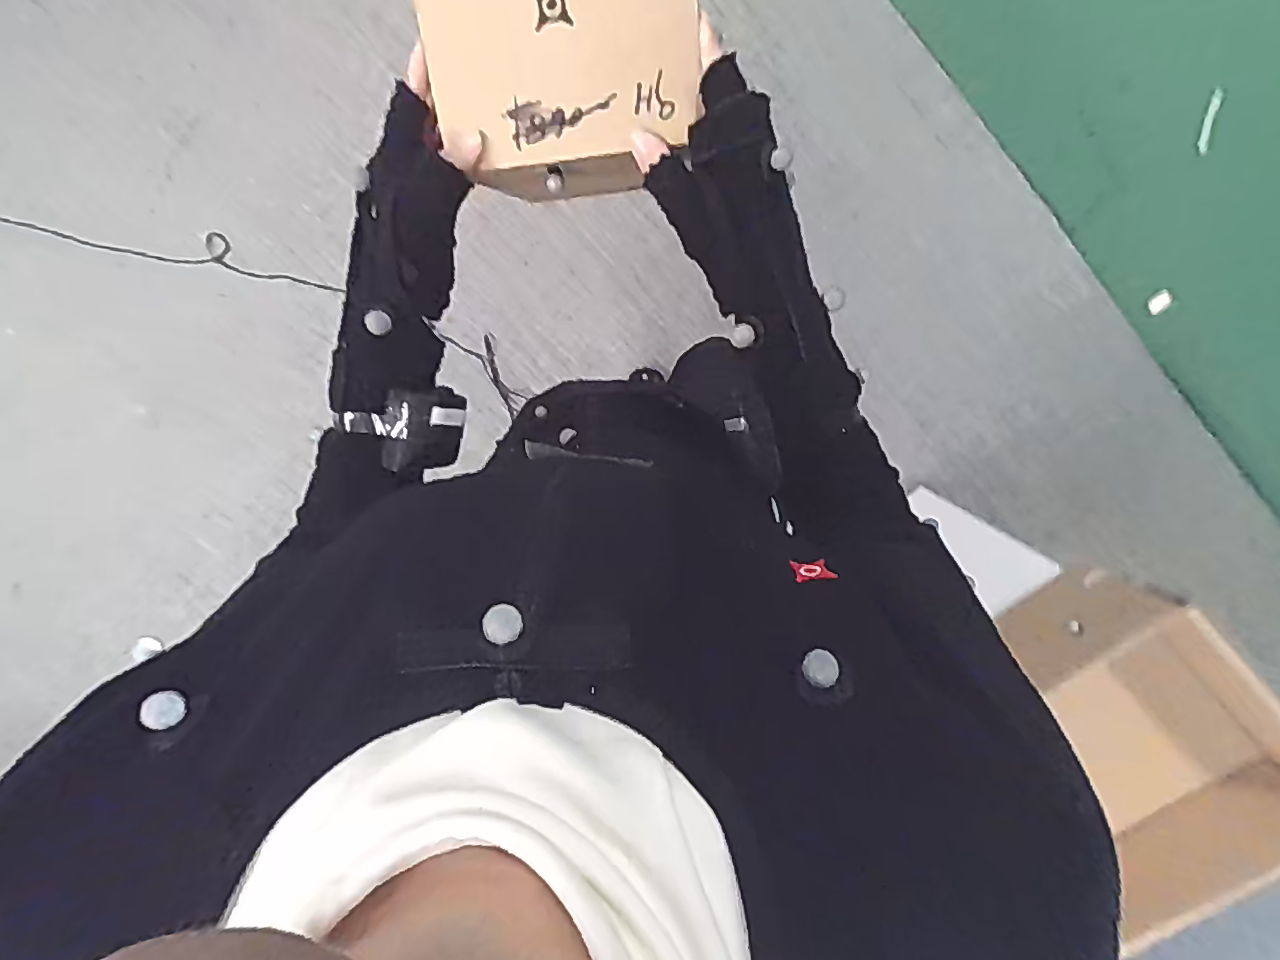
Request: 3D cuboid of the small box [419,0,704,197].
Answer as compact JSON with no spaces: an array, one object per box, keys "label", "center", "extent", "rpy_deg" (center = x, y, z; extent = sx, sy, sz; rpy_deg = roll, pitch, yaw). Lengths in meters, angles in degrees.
[{"label":"small box","center":[-0.041,-0.316,0.383],"extent":[0.168,0.176,0.179],"rpy_deg":[-3,111,9]}]
